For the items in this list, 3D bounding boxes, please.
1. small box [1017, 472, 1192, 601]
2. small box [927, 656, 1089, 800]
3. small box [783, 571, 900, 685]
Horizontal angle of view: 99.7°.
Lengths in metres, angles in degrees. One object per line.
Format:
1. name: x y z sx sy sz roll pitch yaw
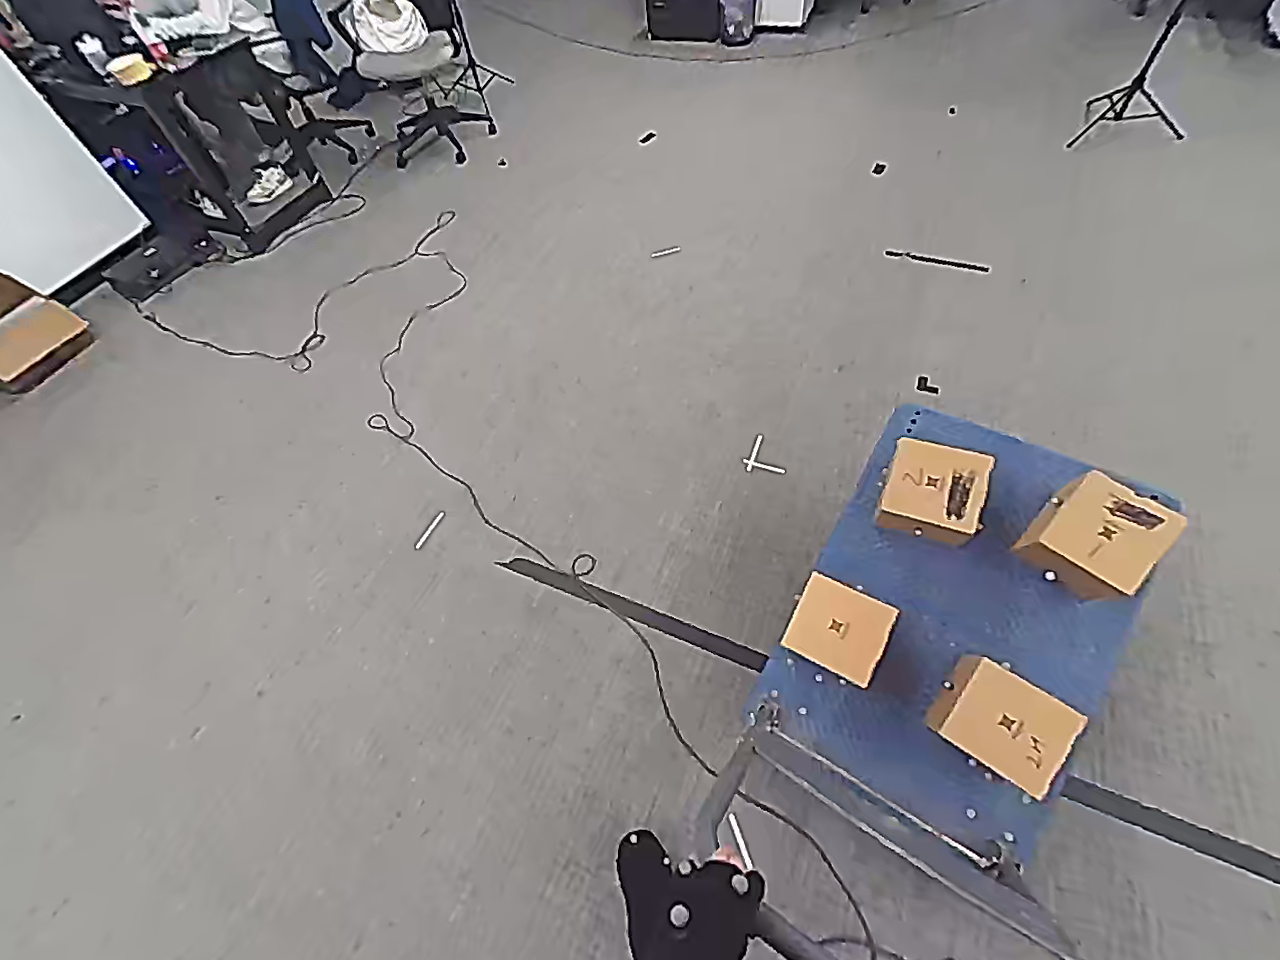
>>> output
1. small box: 0.880 0.116 1.049 0.168 0.176 0.179 39 90 24
2. small box: 0.673 0.453 1.016 0.179 0.176 0.168 33 87 24
3. small box: 0.418 0.312 1.142 0.179 0.176 0.168 24 83 21
